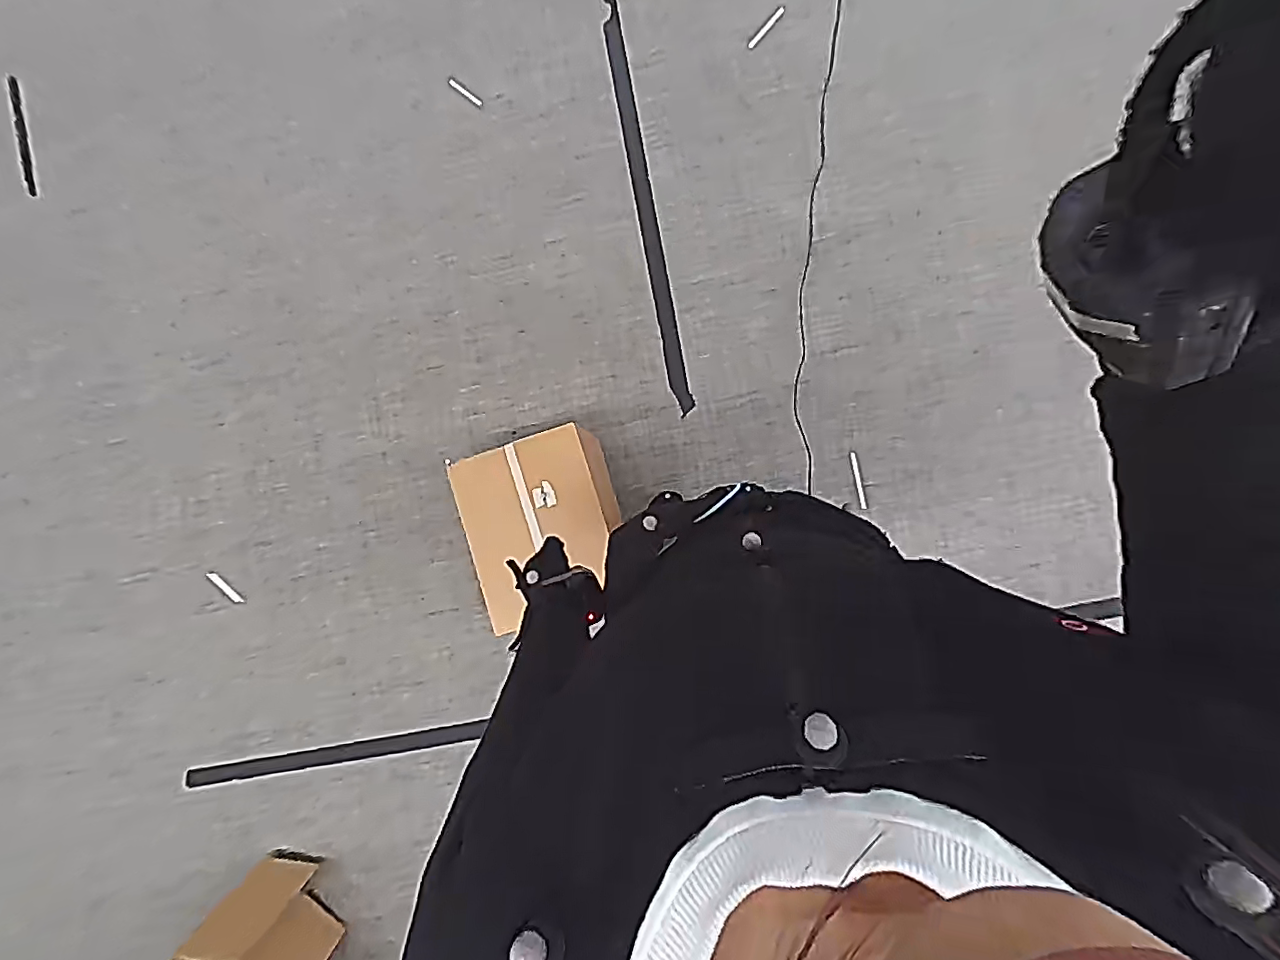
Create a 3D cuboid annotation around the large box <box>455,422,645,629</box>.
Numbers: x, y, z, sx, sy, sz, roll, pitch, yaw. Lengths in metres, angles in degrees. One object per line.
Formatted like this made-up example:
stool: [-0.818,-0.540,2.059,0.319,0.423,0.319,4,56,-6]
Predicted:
large box: [-0.205,0.110,1.360,0.320,0.320,0.408,-18,85,4]
